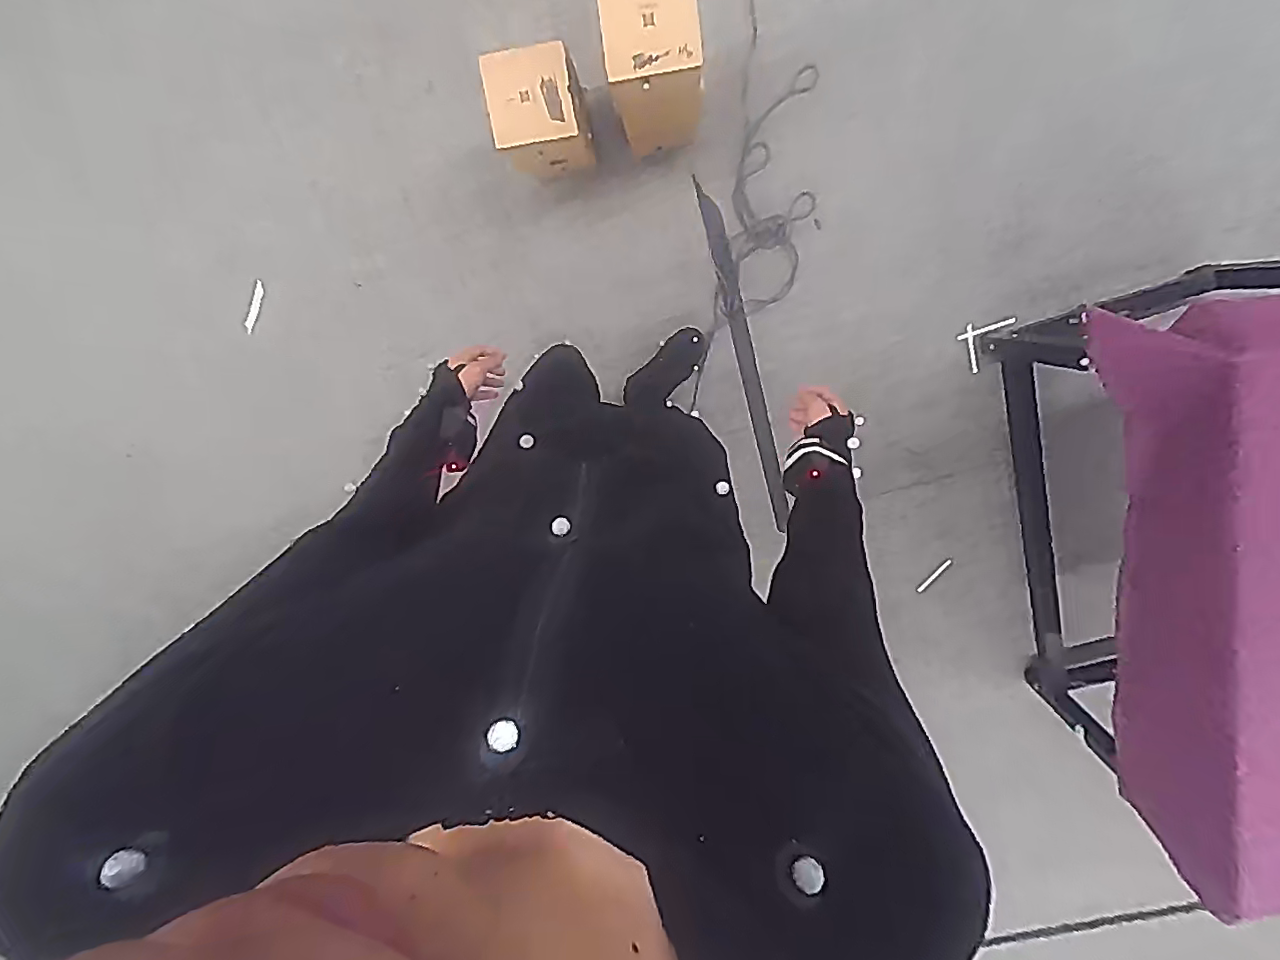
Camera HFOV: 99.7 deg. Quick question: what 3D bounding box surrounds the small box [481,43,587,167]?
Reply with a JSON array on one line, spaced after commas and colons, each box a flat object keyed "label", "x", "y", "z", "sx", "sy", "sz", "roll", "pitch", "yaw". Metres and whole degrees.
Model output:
[{"label": "small box", "x": -0.213, "y": -0.787, "z": 1.152, "sx": 0.179, "sy": 0.176, "sz": 0.168, "roll": -7, "pitch": 108, "yaw": 6}]

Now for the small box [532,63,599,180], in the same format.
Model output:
[{"label": "small box", "x": -0.202, "y": -0.853, "z": 1.302, "sx": 0.168, "sy": 0.176, "sz": 0.179, "roll": -10, "pitch": 108, "yaw": 7}]

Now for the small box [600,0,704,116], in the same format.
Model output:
[{"label": "small box", "x": 0.021, "y": -0.793, "z": 0.969, "sx": 0.168, "sy": 0.176, "sz": 0.179, "roll": -6, "pitch": 107, "yaw": 5}]

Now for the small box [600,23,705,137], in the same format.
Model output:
[{"label": "small box", "x": 0.032, "y": -0.846, "z": 1.124, "sx": 0.179, "sy": 0.176, "sz": 0.168, "roll": -13, "pitch": 107, "yaw": 8}]

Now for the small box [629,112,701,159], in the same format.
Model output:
[{"label": "small box", "x": 0.040, "y": -0.897, "z": 1.278, "sx": 0.168, "sy": 0.176, "sz": 0.179, "roll": -15, "pitch": 107, "yaw": 8}]
